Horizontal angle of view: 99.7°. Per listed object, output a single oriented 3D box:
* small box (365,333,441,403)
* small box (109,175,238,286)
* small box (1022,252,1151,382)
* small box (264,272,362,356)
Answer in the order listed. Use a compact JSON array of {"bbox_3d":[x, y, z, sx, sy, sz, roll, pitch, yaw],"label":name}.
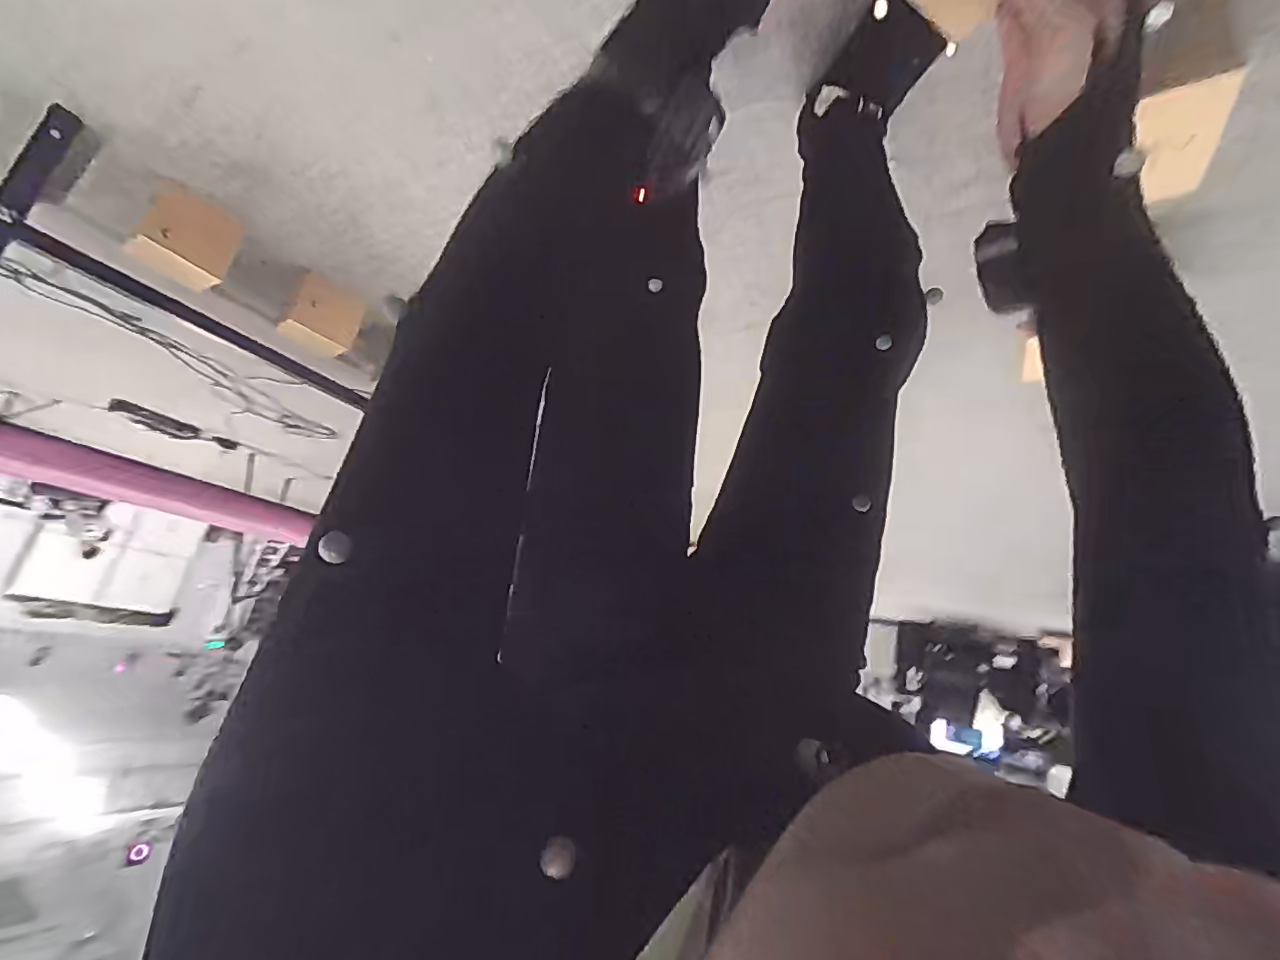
[{"bbox_3d":[-0.816,-0.389,1.876,0.179,0.176,0.168,-3,157,40],"label":"small box"},{"bbox_3d":[-1.168,-0.624,1.366,0.168,0.176,0.179,1,159,32],"label":"small box"},{"bbox_3d":[0.836,-0.309,1.031,0.168,0.176,0.179,1,159,32],"label":"small box"},{"bbox_3d":[-0.982,-0.502,1.629,0.168,0.176,0.179,-1,159,39],"label":"small box"}]
